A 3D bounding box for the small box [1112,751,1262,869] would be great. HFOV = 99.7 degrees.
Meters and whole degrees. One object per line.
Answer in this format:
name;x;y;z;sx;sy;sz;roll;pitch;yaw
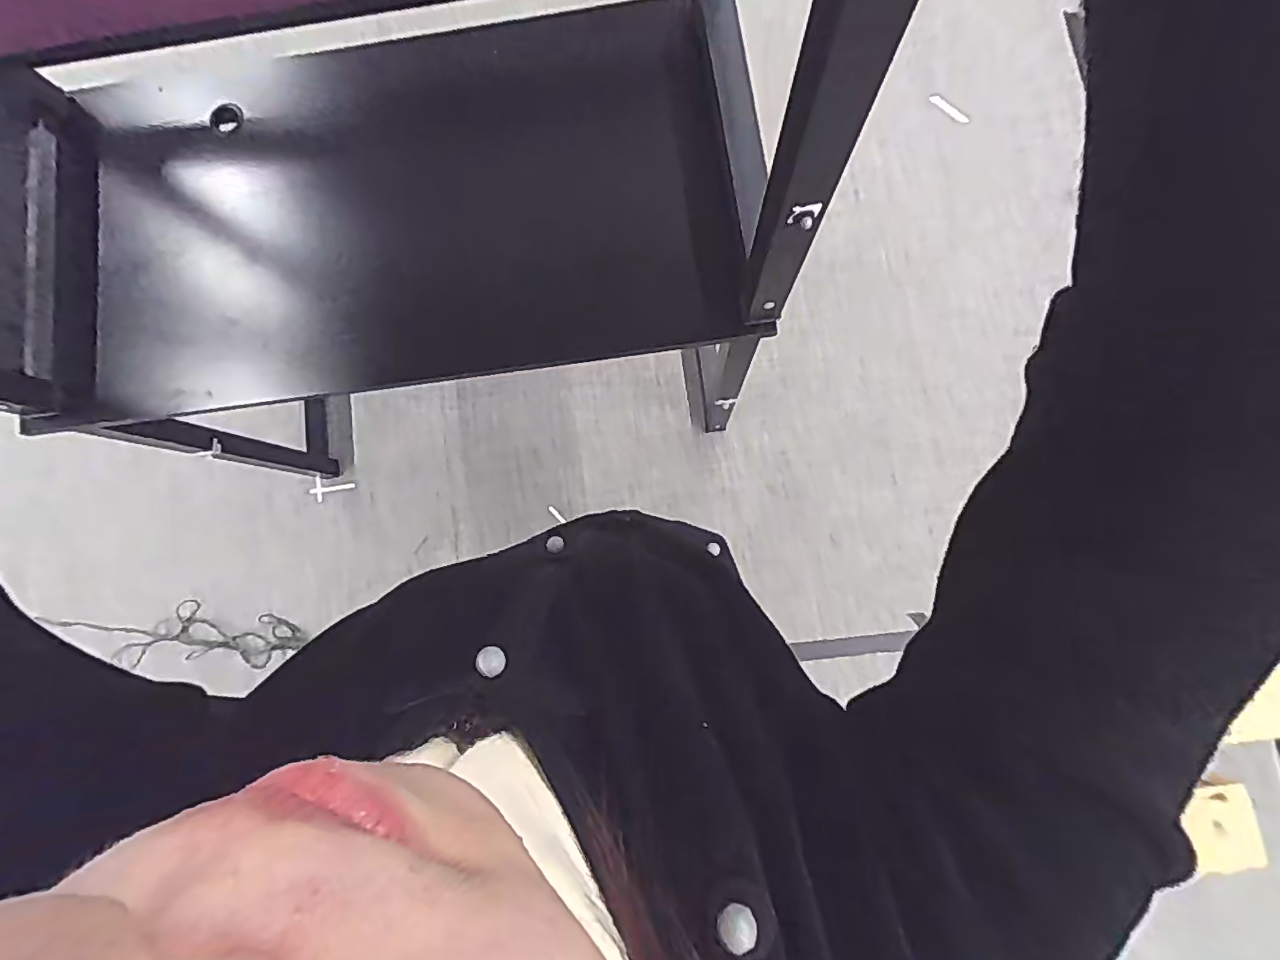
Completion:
small box;1.273;0.769;1.273;0.168;0.176;0.179;-9;84;2
